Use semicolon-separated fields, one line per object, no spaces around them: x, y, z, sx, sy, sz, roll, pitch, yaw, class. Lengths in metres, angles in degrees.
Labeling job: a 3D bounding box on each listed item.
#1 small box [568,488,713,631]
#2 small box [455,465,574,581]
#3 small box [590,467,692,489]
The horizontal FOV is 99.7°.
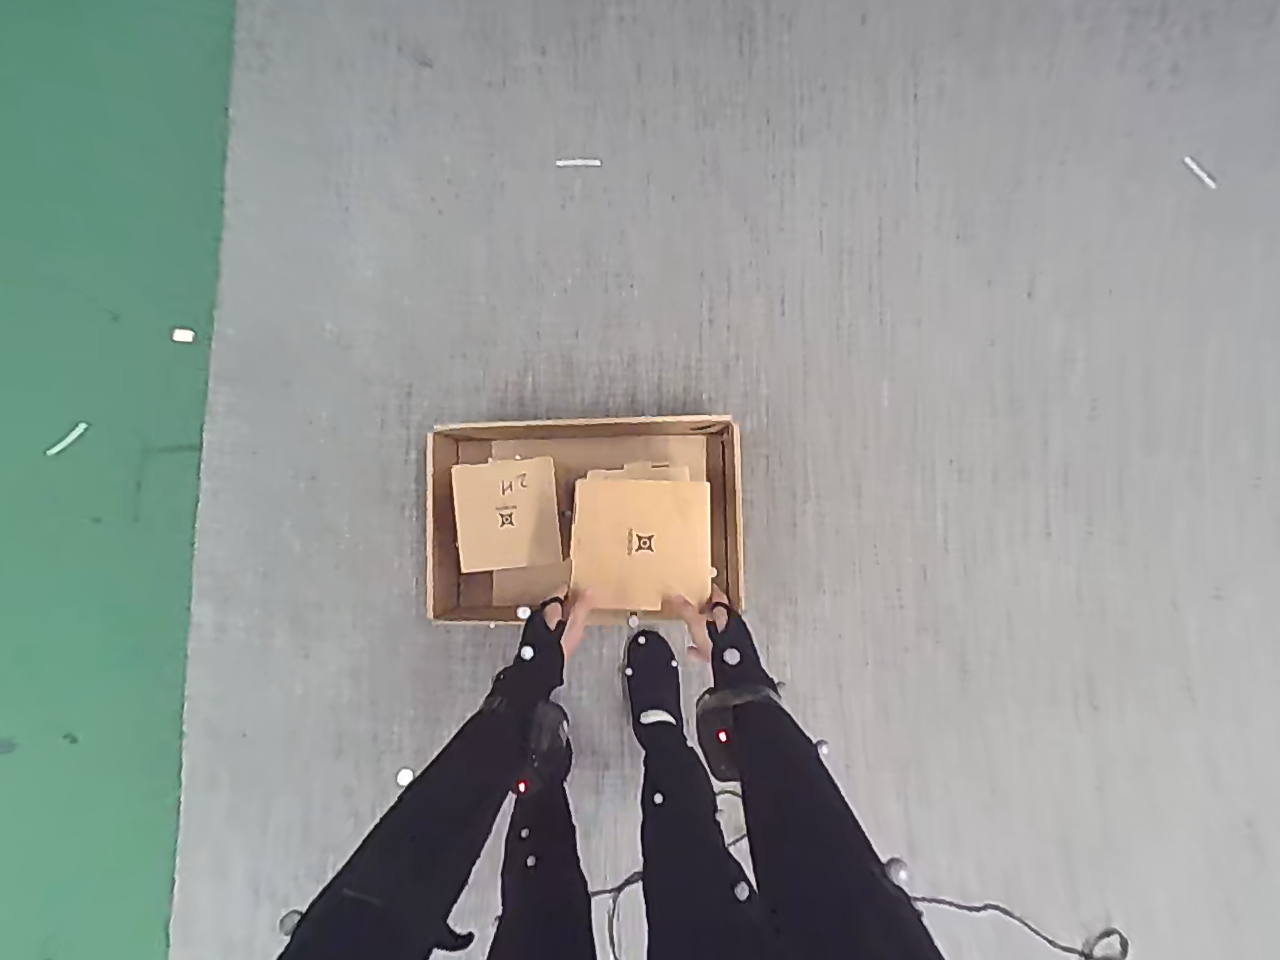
0.004;0.115;0.749;0.179;0.176;0.168;-1;69;3;small box
-0.209;0.071;0.952;0.168;0.176;0.179;-7;88;0;small box
0.009;0.077;0.938;0.168;0.176;0.179;-4;86;3;small box
